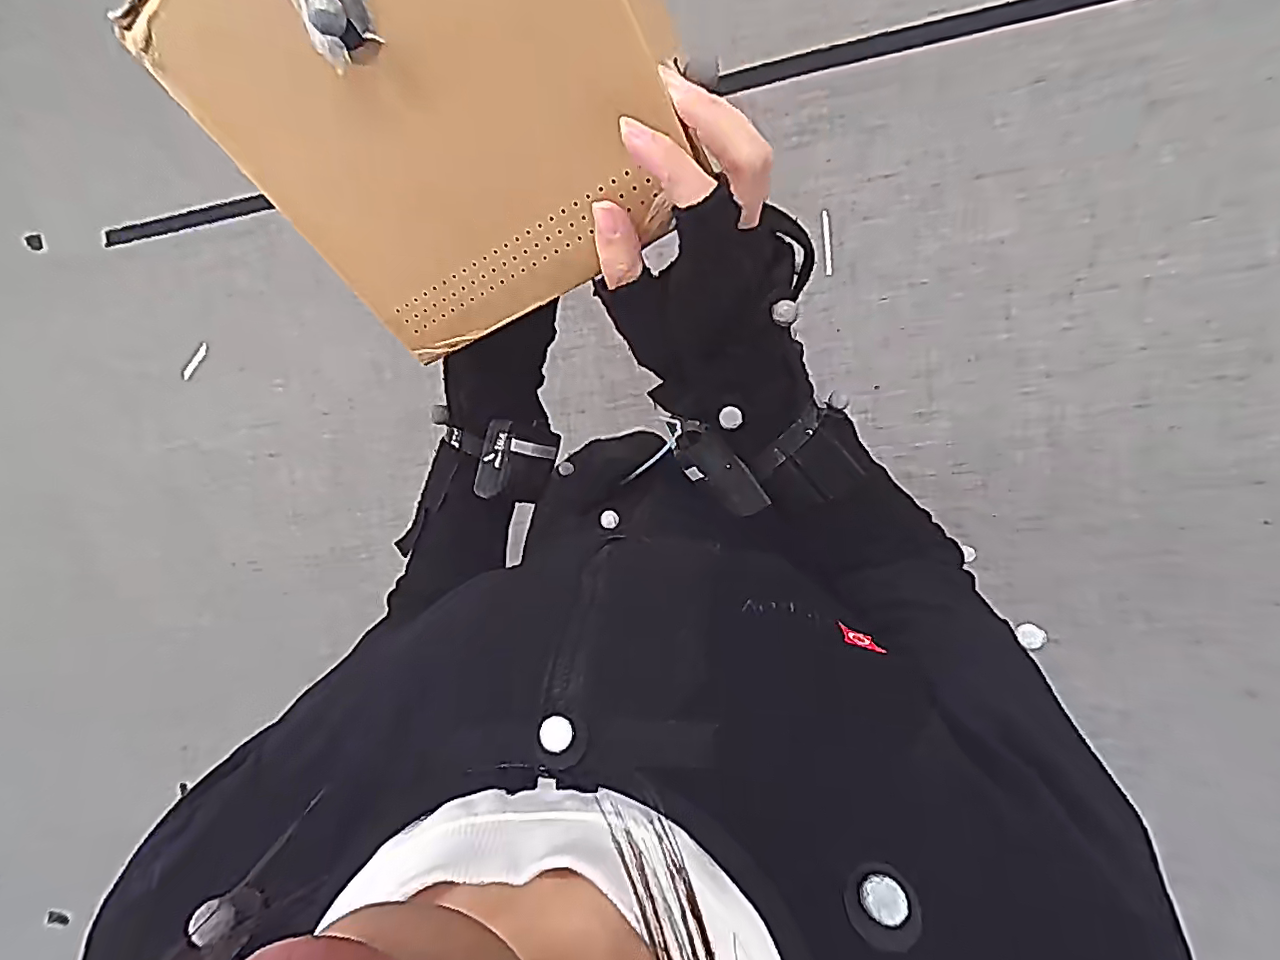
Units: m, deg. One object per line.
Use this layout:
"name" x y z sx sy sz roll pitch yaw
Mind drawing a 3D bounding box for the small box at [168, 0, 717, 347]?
"small box" -0.073 -0.201 0.289 0.179 0.168 0.176 -18 131 23
